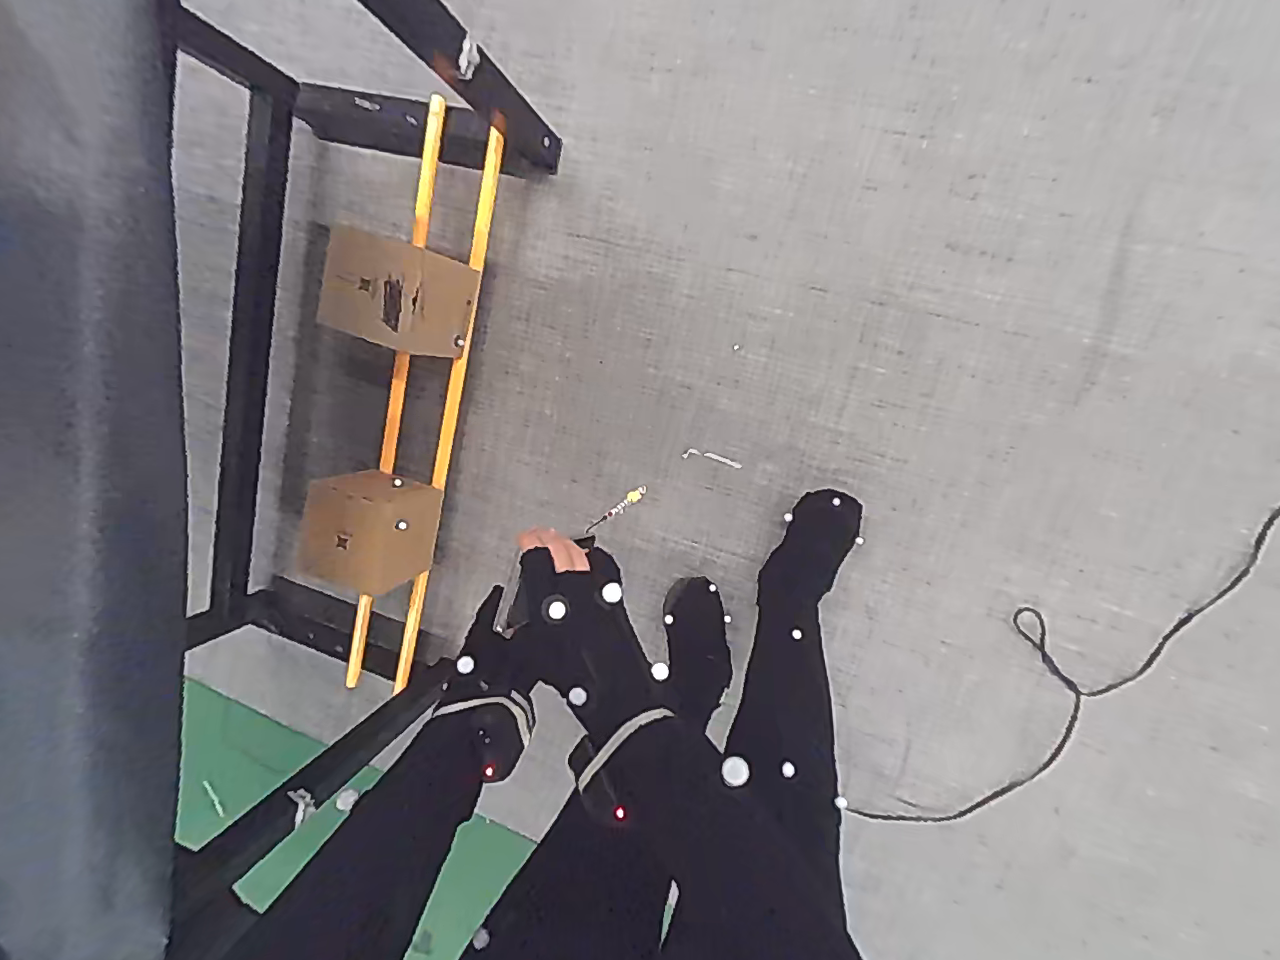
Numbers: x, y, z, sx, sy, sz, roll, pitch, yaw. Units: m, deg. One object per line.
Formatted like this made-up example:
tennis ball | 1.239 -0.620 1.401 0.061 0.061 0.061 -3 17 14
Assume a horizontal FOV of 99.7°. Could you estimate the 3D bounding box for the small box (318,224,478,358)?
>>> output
small box | -0.408 -0.314 0.935 0.179 0.176 0.168 20 102 11
